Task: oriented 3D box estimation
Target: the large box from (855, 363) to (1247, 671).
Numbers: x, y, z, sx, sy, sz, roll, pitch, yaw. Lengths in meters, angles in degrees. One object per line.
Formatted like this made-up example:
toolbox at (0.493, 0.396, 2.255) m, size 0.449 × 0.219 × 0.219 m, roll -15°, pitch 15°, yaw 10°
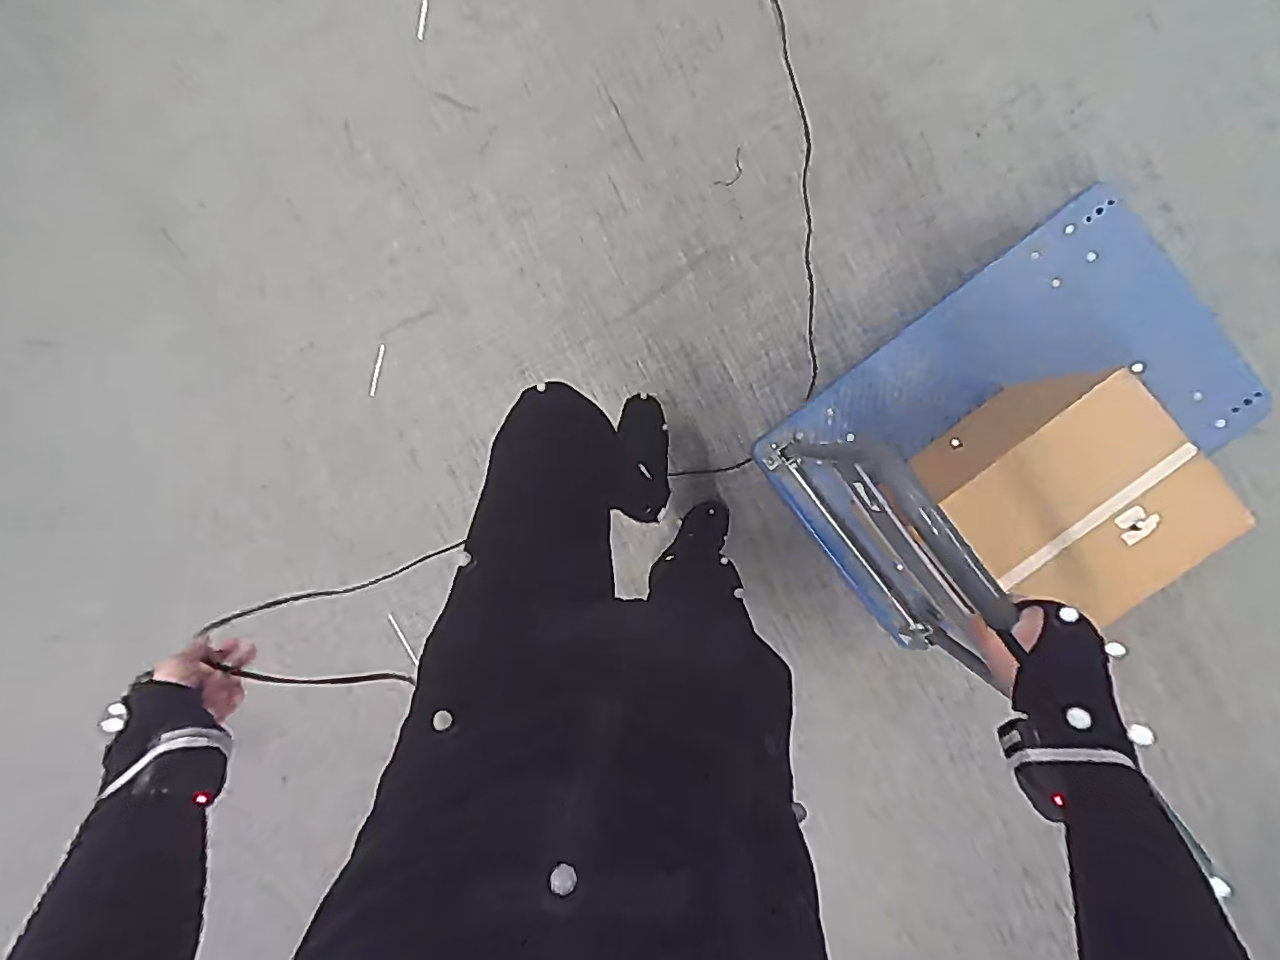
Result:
large box at (0.685, 0.055, 0.985) m, size 0.408 × 0.320 × 0.320 m, roll -40°, pitch 91°, yaw 7°
